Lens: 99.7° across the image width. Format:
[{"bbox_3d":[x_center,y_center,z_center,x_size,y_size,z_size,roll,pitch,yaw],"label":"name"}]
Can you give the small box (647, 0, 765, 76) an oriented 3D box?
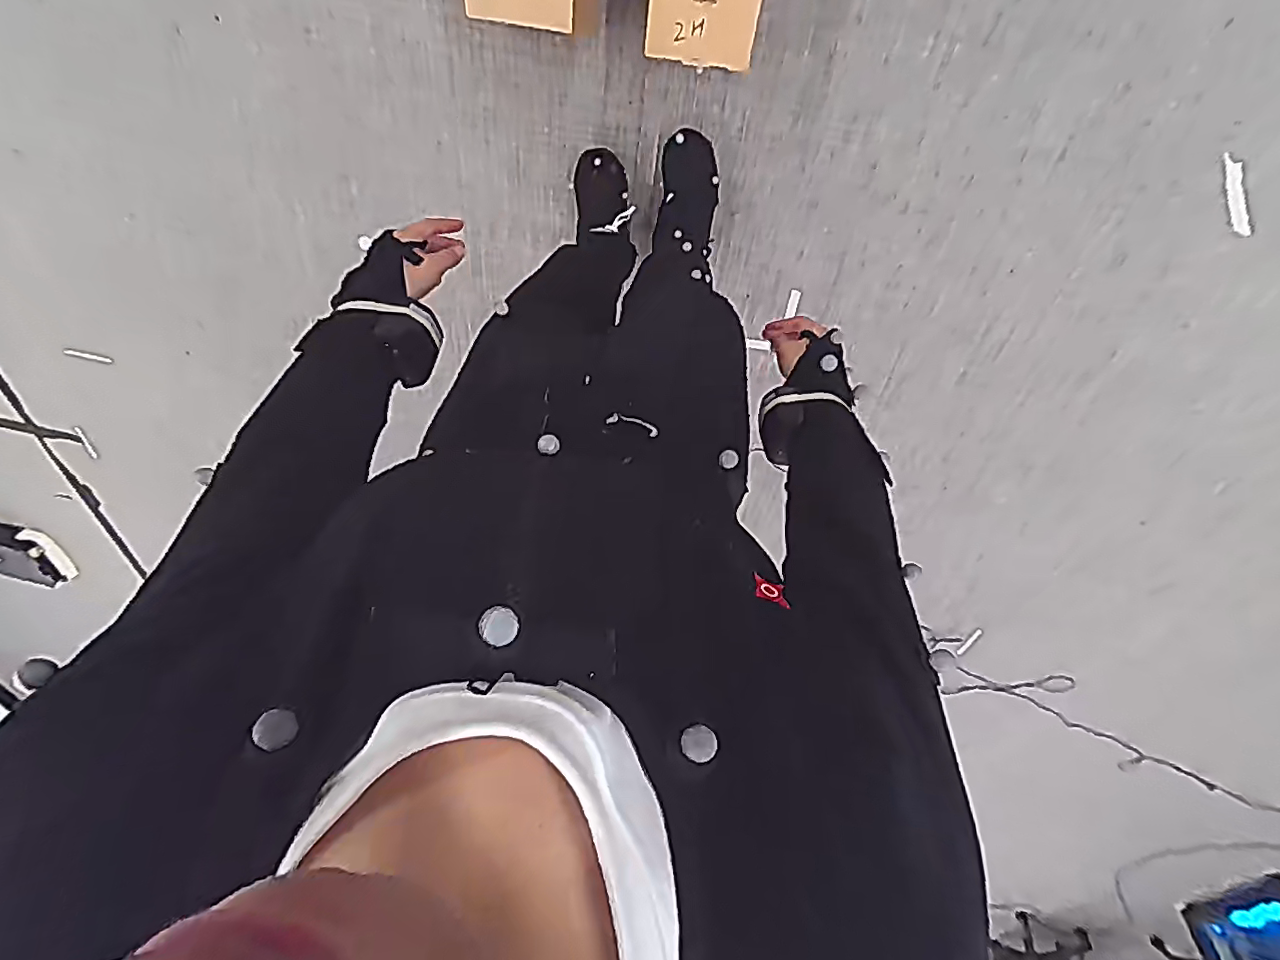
[{"bbox_3d":[0.114,-0.766,0.859,0.168,0.176,0.179,12,130,3],"label":"small box"}]
